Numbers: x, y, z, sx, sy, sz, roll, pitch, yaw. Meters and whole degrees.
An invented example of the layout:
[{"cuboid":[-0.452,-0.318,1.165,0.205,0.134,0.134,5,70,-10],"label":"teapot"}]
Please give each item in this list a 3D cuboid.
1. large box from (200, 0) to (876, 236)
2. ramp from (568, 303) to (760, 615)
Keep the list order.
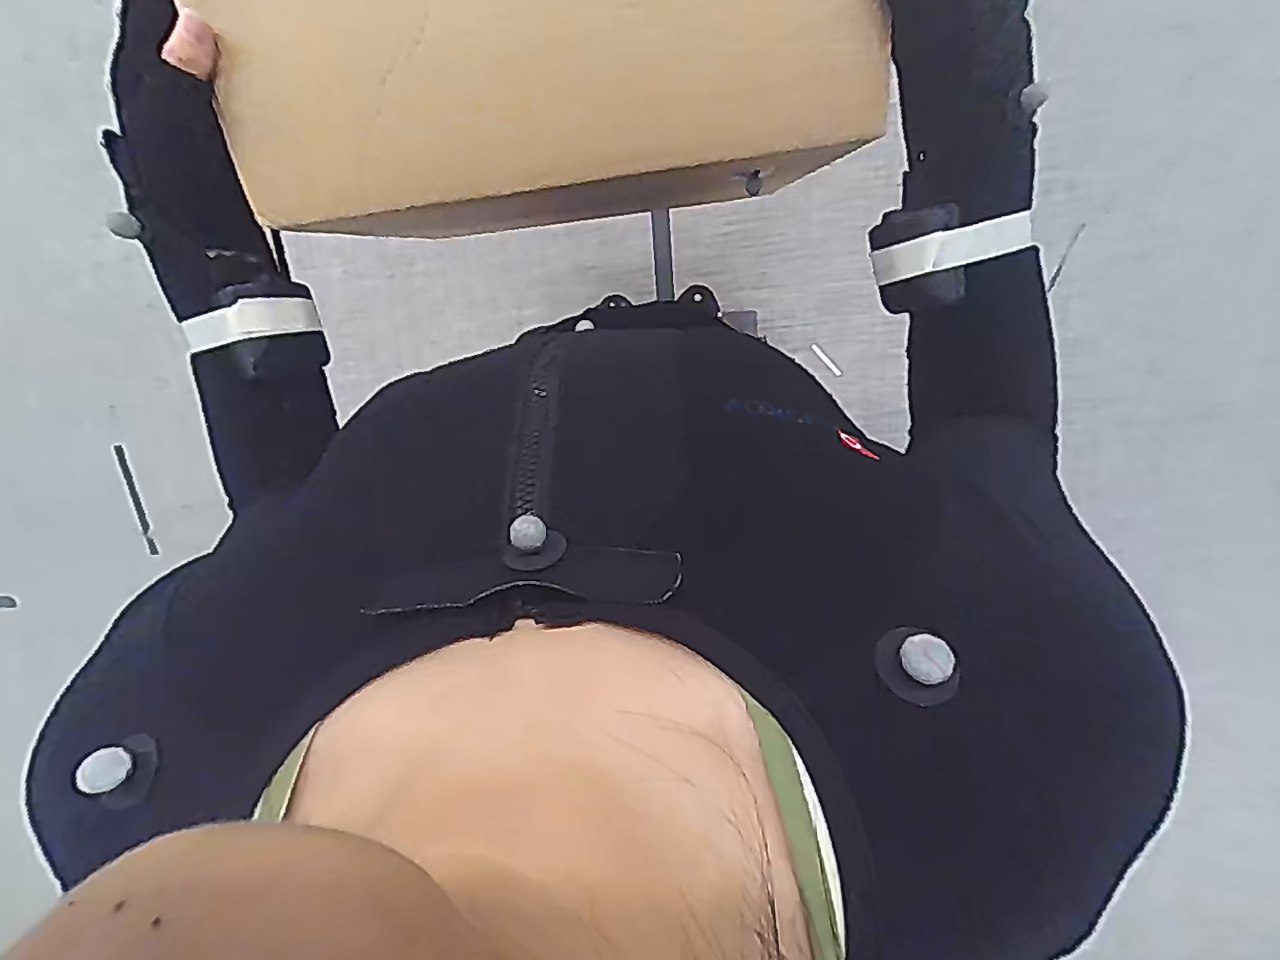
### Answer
[{"cuboid":[-0.065,-0.392,0.436,0.408,0.320,0.320,-6,112,4],"label":"large box"},{"cuboid":[0.109,0.007,1.610,0.509,0.206,0.991,-6,107,5],"label":"ramp"}]
